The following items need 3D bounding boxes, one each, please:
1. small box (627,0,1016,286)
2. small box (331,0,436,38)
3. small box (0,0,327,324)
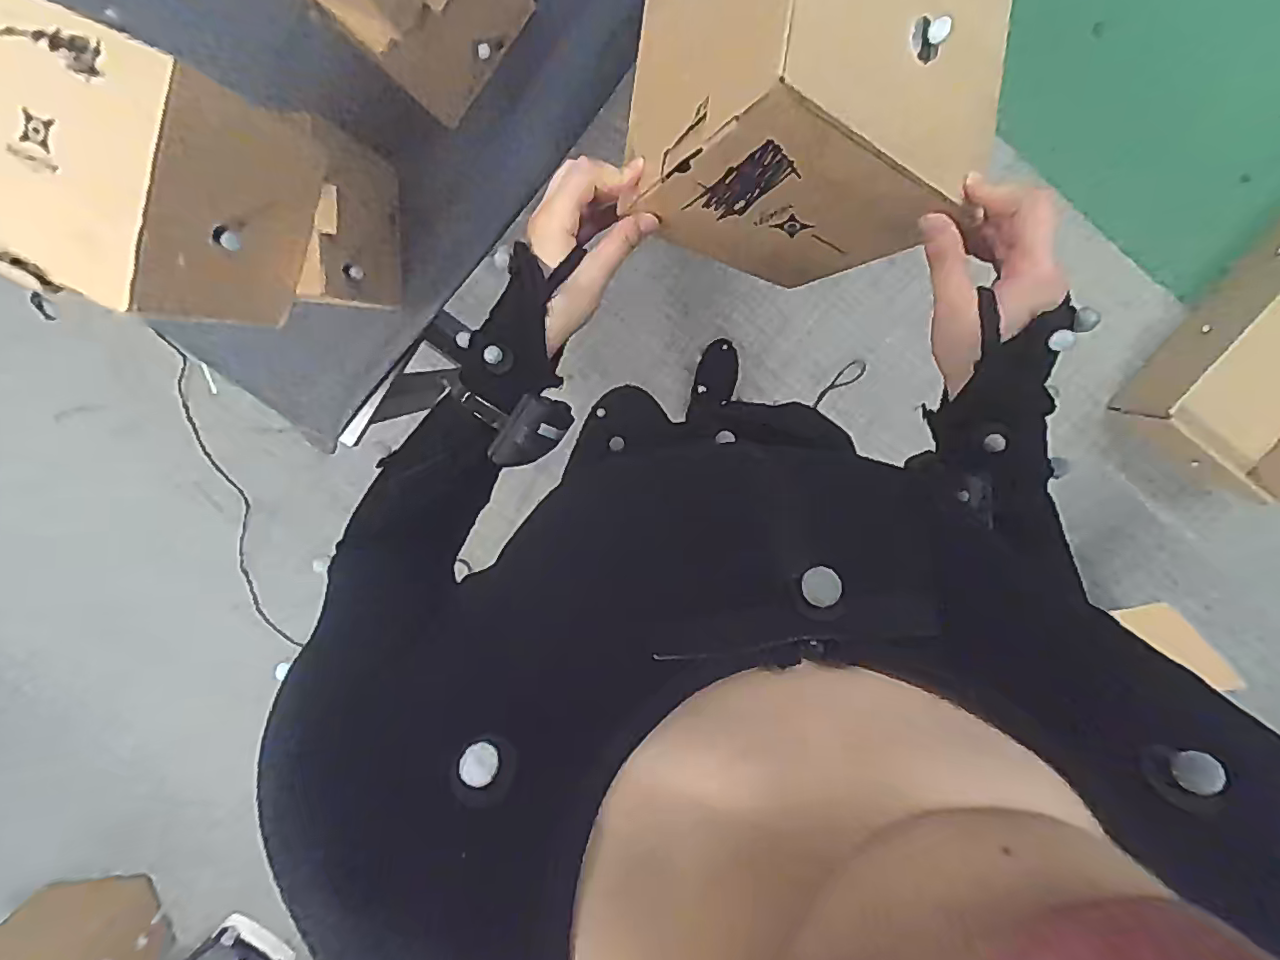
[{"bbox_3d":[0.113,-0.257,0.358,0.179,0.168,0.176,8,89,-29],"label":"small box"},{"bbox_3d":[-0.243,-0.478,0.388,0.179,0.176,0.168,29,104,-4],"label":"small box"},{"bbox_3d":[-0.398,-0.241,0.449,0.168,0.176,0.179,23,104,-2],"label":"small box"}]
